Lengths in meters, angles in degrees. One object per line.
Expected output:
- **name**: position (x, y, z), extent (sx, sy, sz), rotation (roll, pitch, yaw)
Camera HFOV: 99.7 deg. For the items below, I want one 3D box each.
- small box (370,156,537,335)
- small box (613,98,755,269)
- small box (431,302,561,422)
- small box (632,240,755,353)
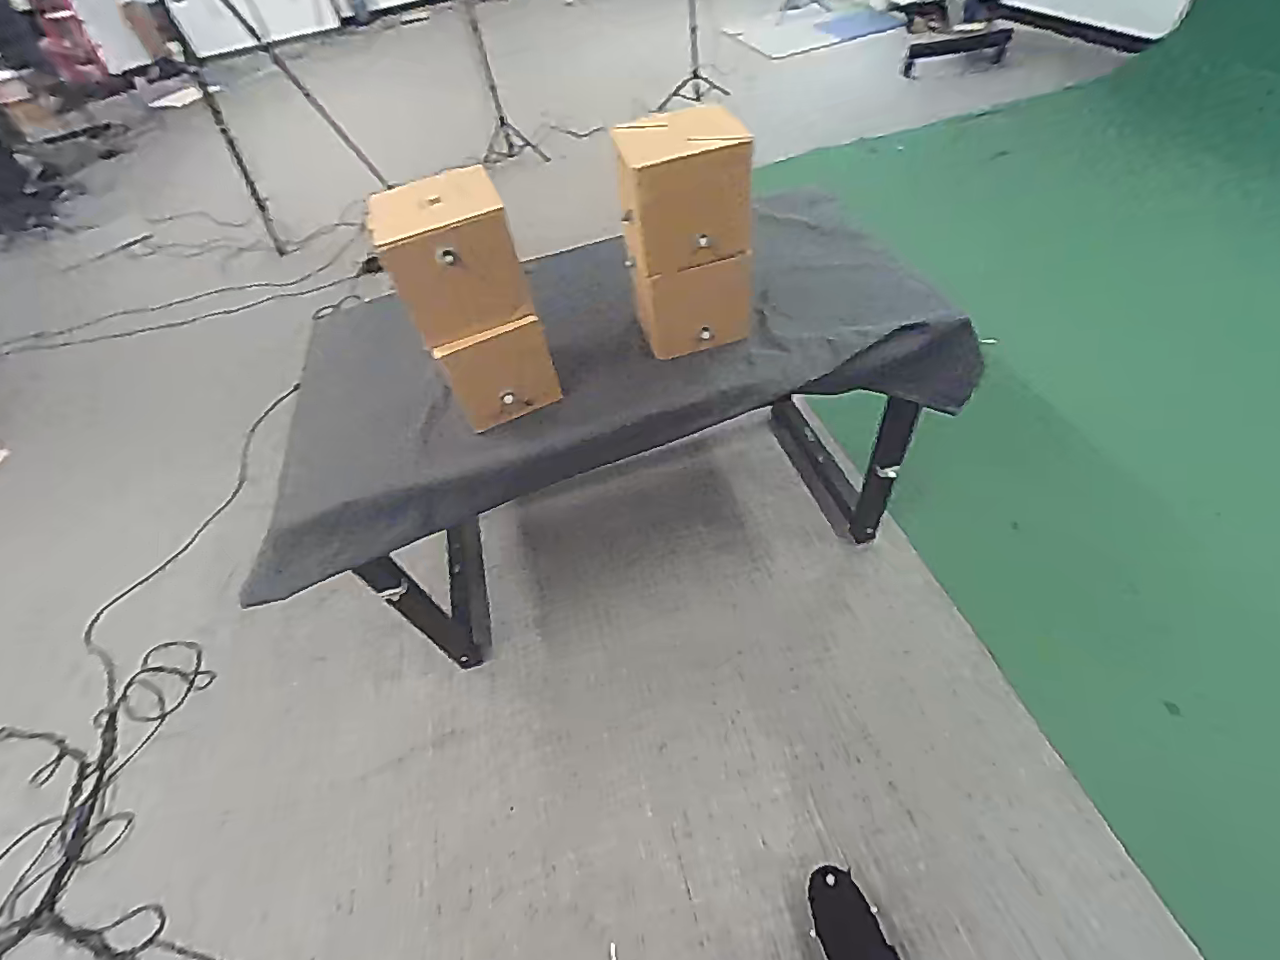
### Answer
- **small box**: position (-0.272, -0.343, 0.802), extent (0.179, 0.176, 0.168), rotation (-20, 53, -8)
- **small box**: position (0.065, -0.459, 0.832), extent (0.179, 0.176, 0.168), rotation (-15, 51, -2)
- **small box**: position (-0.250, -0.231, 0.919), extent (0.168, 0.176, 0.179), rotation (-24, 53, -9)
- **small box**: position (0.090, -0.354, 0.961), extent (0.179, 0.176, 0.168), rotation (-15, 51, -3)
